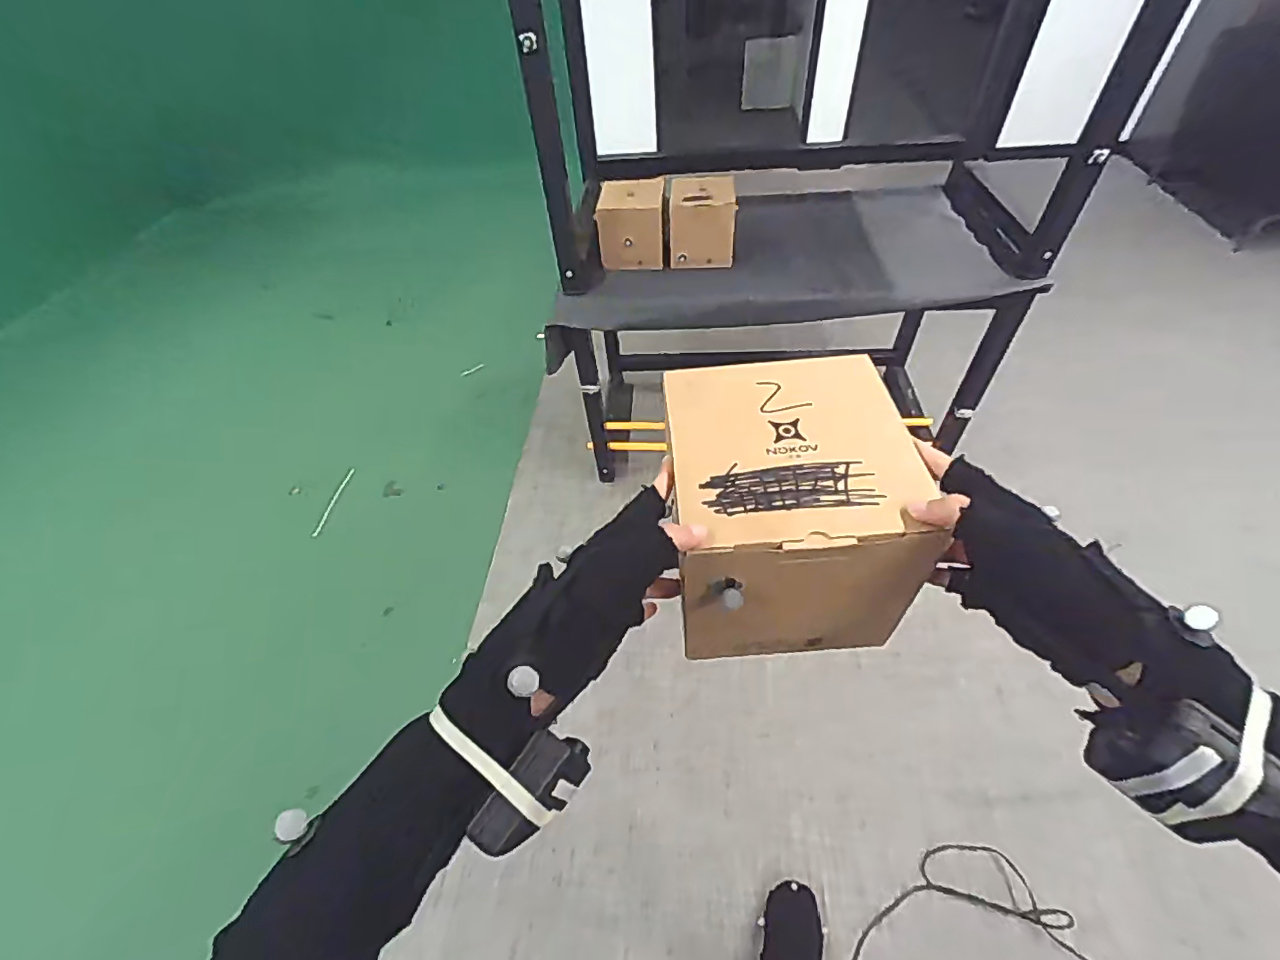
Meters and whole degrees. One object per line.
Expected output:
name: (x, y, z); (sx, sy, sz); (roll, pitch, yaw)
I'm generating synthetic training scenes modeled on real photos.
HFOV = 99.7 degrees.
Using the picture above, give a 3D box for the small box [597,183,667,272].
small box: (-0.015, -0.682, 1.465); (0.168, 0.176, 0.179); (3, 49, 6)
